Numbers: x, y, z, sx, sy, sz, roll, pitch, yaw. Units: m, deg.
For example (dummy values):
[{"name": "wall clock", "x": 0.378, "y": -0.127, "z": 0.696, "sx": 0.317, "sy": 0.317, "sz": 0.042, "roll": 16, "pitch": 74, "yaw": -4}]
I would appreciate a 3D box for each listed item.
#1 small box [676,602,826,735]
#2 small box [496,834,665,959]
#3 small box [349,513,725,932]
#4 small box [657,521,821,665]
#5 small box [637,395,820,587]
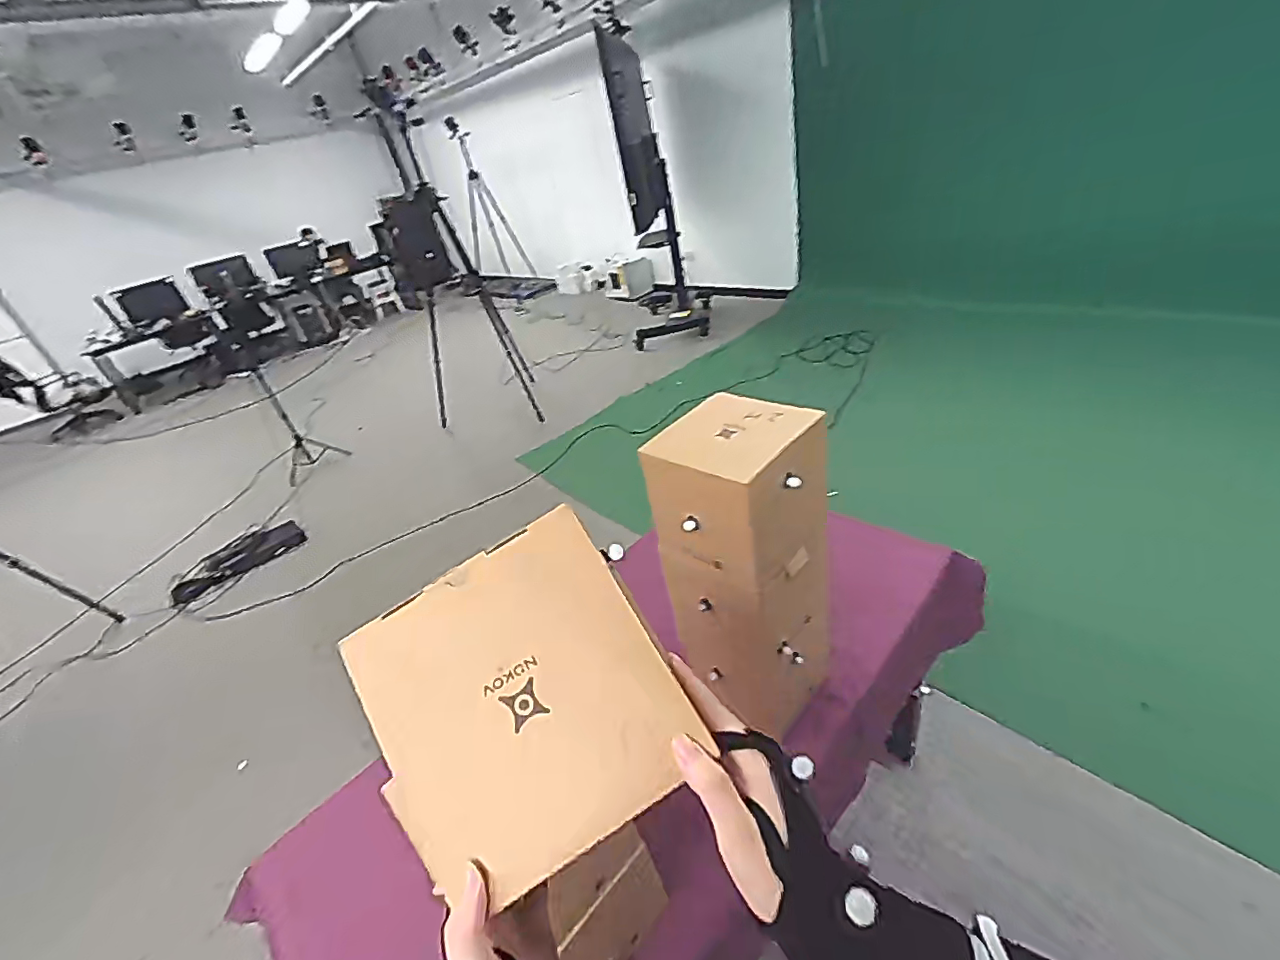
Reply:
[{"name": "small box", "x": 0.189, "y": 0.280, "z": 0.894, "sx": 0.179, "sy": 0.176, "sz": 0.168, "roll": 19, "pitch": 46, "yaw": 42}, {"name": "small box", "x": -0.093, "y": 0.499, "z": 0.671, "sx": 0.179, "sy": 0.176, "sz": 0.168, "roll": 22, "pitch": 47, "yaw": 42}, {"name": "small box", "x": -0.058, "y": 0.150, "z": 0.390, "sx": 0.168, "sy": 0.176, "sz": 0.179, "roll": -32, "pitch": 75, "yaw": -6}, {"name": "small box", "x": 0.155, "y": 0.144, "z": 0.807, "sx": 0.179, "sy": 0.176, "sz": 0.168, "roll": 19, "pitch": 45, "yaw": 41}, {"name": "small box", "x": 0.126, "y": 0.010, "z": 0.716, "sx": 0.168, "sy": 0.176, "sz": 0.179, "roll": 21, "pitch": 46, "yaw": 41}]
